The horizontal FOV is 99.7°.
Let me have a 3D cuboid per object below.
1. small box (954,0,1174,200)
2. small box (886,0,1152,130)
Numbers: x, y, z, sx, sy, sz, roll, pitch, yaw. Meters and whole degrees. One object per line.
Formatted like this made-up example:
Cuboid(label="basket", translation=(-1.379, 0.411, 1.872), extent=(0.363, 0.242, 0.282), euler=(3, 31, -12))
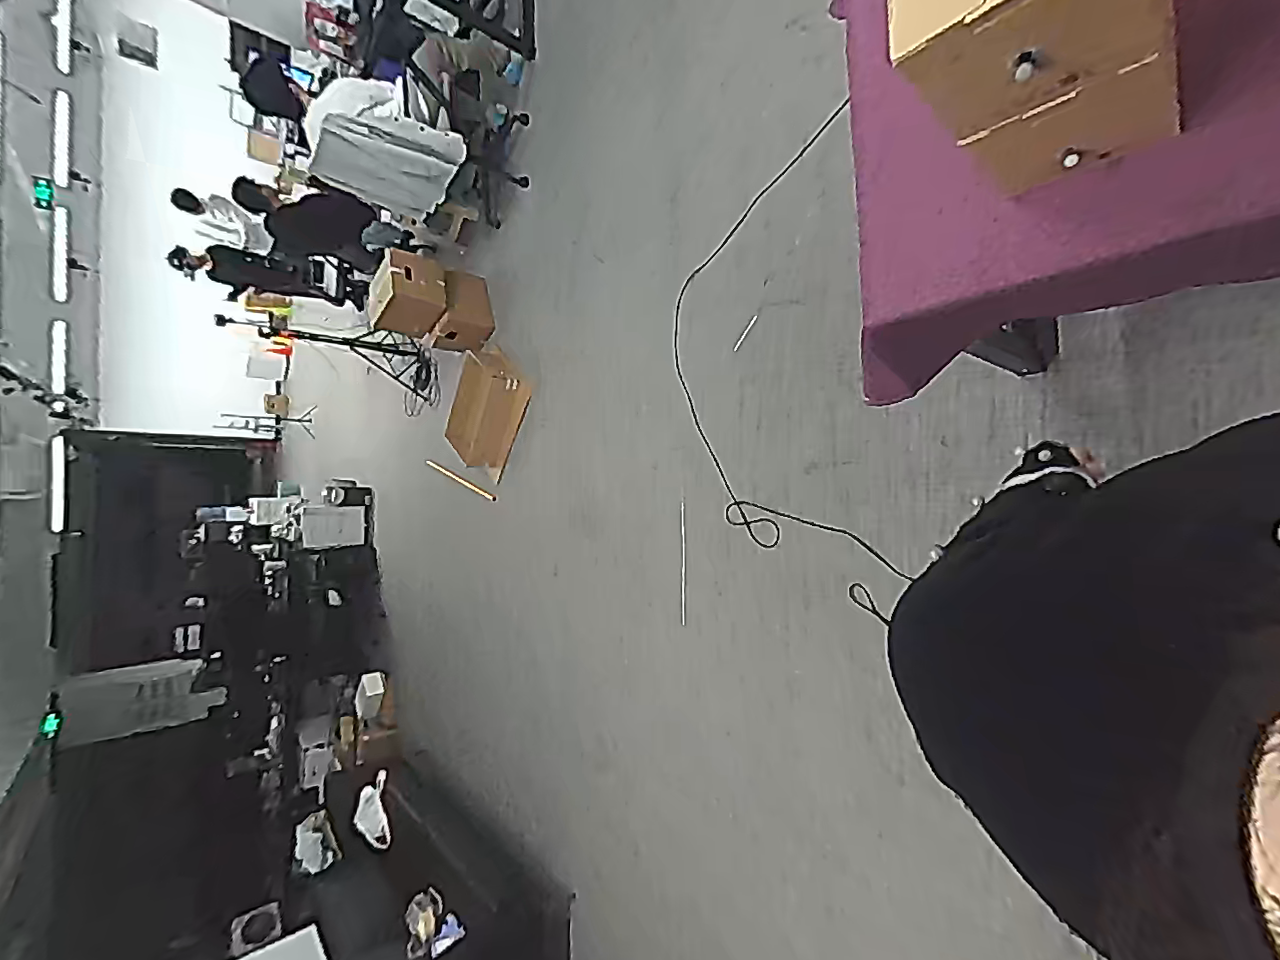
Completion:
Cuboid(label="small box", translation=(0.467, -0.452, 0.599), extent=(0.168, 0.176, 0.179), euler=(-3, 87, 49))
Cuboid(label="small box", translation=(0.342, -0.459, 0.492), extent=(0.168, 0.176, 0.179), euler=(-3, 87, 48))
